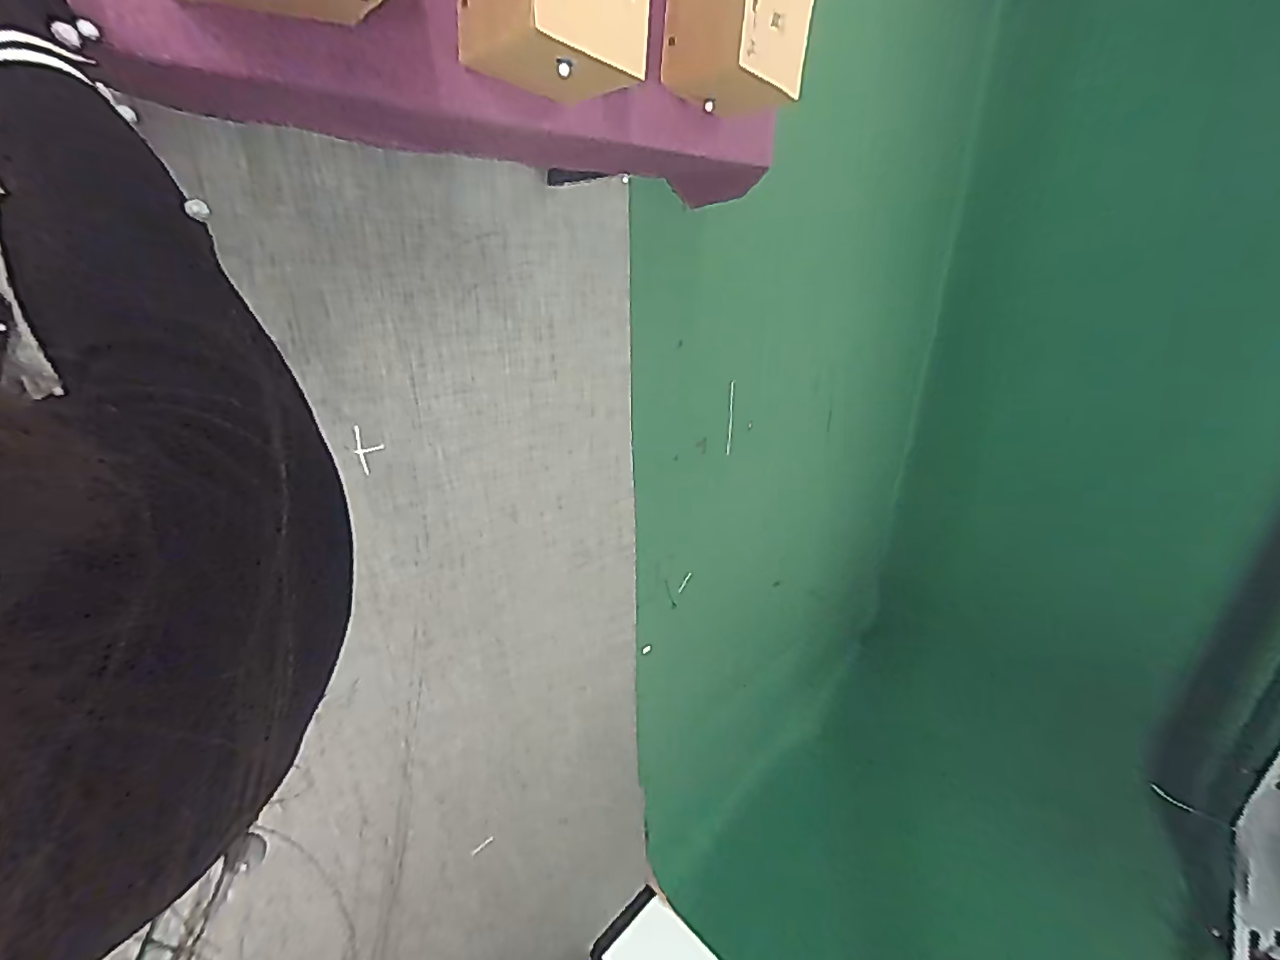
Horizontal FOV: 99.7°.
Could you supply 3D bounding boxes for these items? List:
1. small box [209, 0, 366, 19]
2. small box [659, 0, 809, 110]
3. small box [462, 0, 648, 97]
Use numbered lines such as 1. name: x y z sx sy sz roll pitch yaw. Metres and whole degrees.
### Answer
1. small box: -0.332 -0.533 0.466 0.179 0.176 0.168 -29 125 -38
2. small box: 0.155 -0.740 0.898 0.179 0.176 0.168 -13 115 -44
3. small box: -0.108 -0.606 0.673 0.179 0.176 0.168 -15 117 -44
